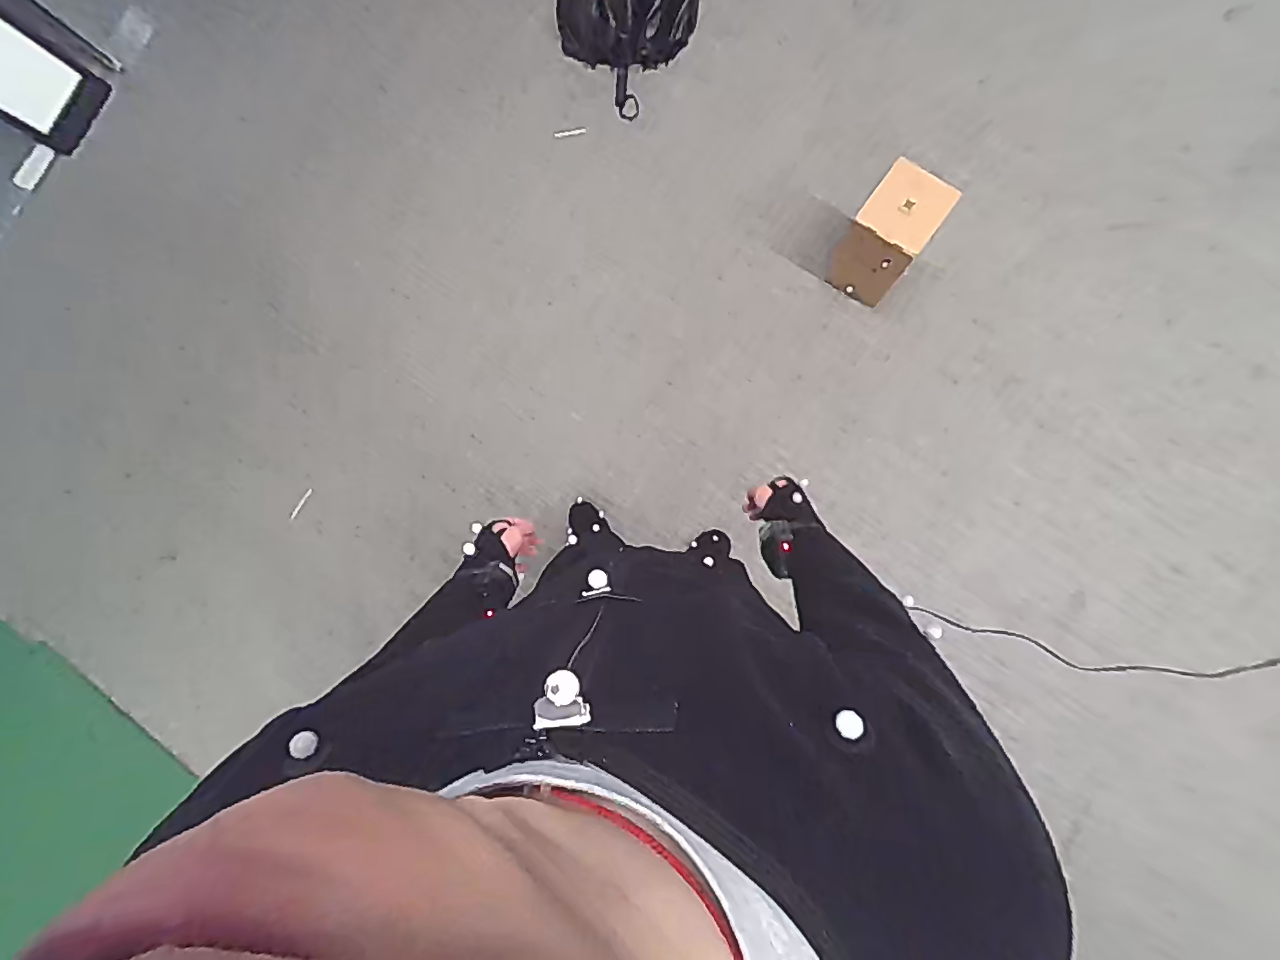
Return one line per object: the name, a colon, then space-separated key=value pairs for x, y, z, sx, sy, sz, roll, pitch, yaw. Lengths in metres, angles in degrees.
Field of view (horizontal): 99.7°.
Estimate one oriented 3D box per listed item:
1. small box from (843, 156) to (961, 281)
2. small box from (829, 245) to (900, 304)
small box: x=0.604 y=-0.606 z=1.278 sx=0.168 sy=0.176 sz=0.179 roll=35 pitch=92 yaw=6
small box: x=0.628 y=-0.604 z=1.439 sx=0.168 sy=0.176 sz=0.179 roll=34 pitch=94 yaw=7
